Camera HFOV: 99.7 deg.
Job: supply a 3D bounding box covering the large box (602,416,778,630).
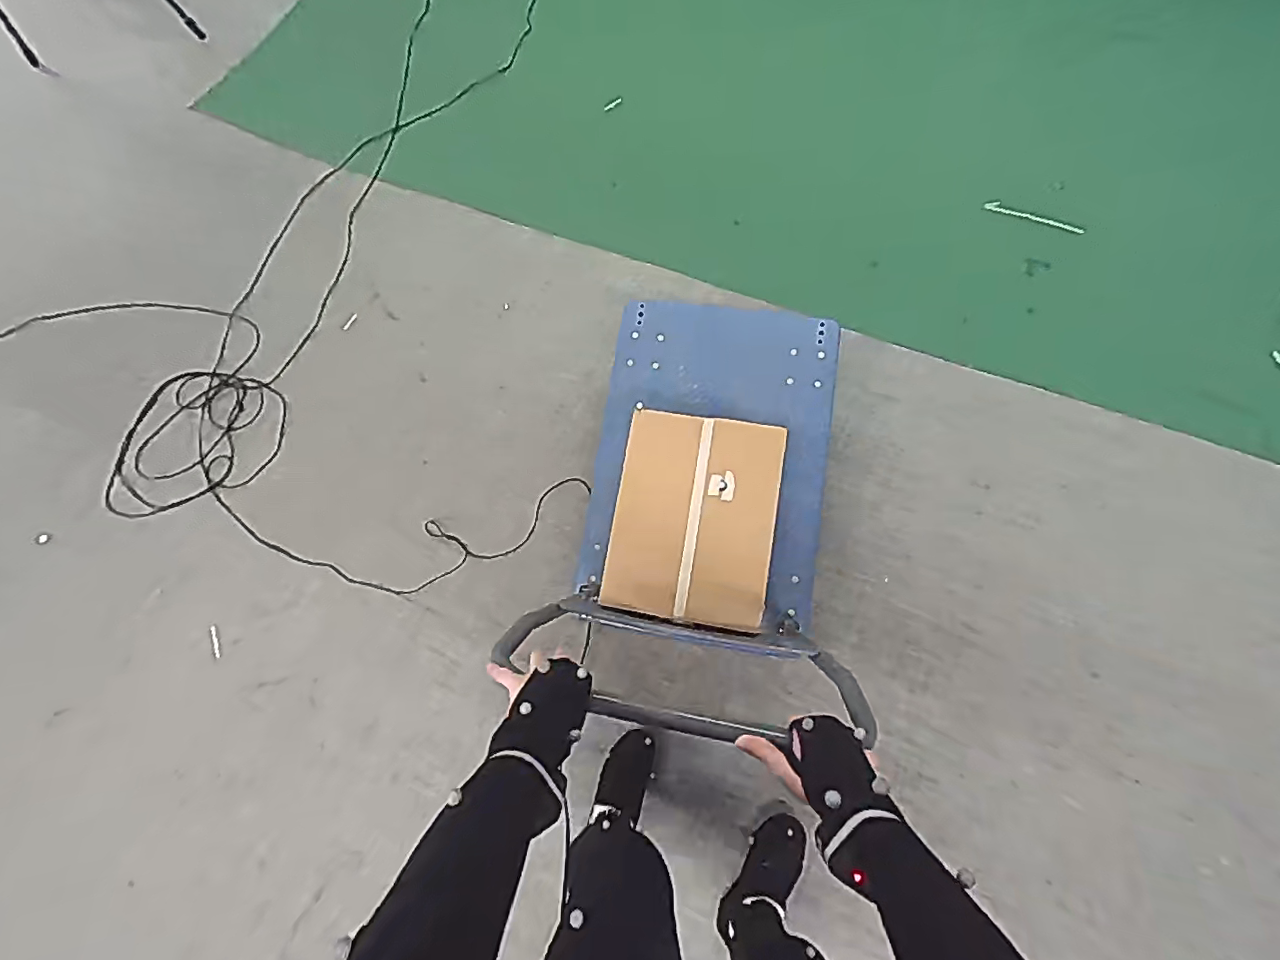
[{"bbox_3d":[0.120,0.108,1.225,0.320,0.320,0.408,8,79,8],"label":"large box"}]
